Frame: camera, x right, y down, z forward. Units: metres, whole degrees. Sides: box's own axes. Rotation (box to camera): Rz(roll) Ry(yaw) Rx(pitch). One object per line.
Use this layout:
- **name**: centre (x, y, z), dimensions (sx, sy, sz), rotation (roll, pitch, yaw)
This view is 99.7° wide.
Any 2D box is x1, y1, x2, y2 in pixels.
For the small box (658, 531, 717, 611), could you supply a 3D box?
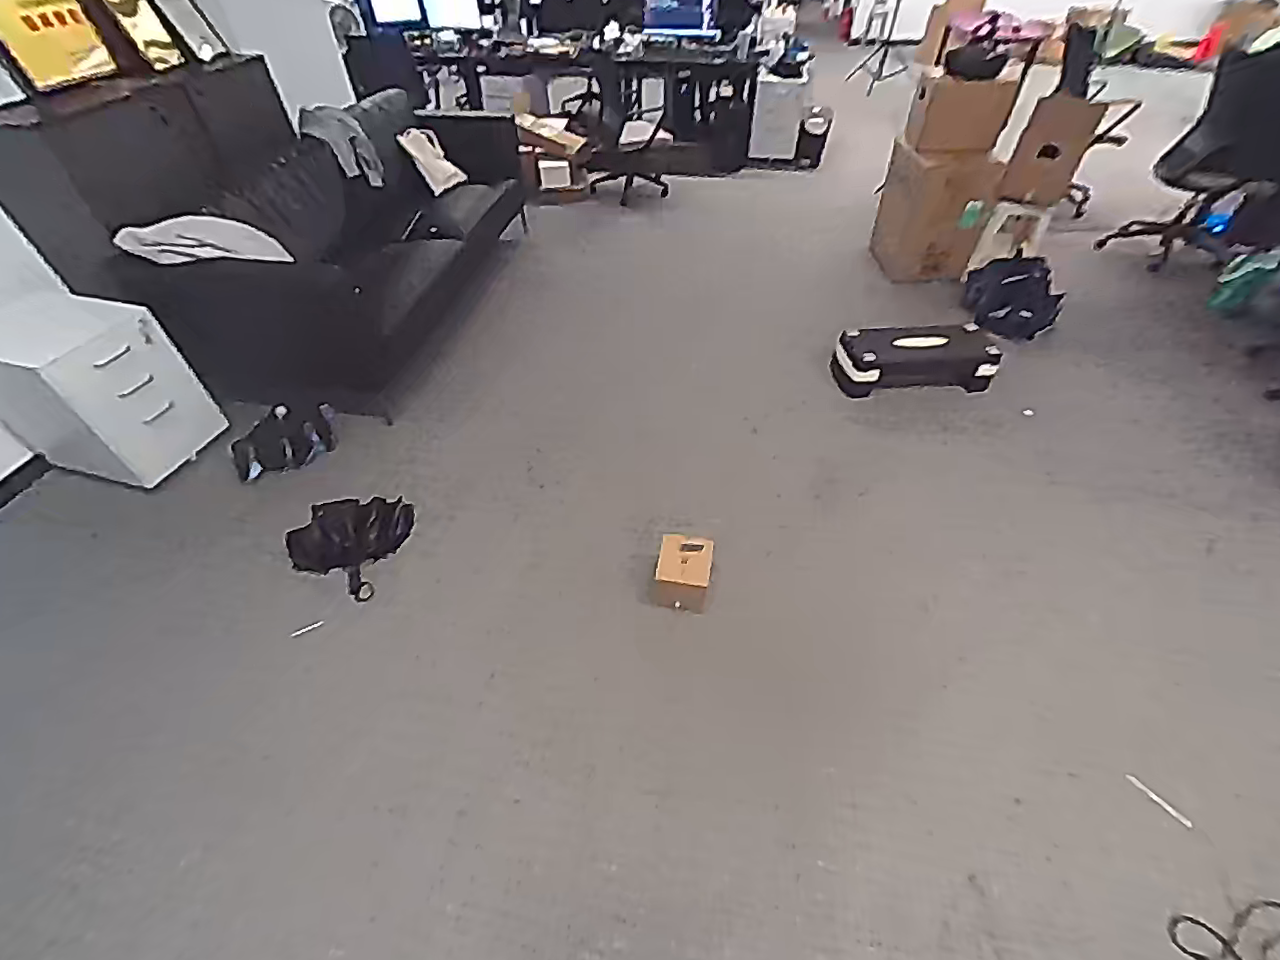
- **small box**: centre (0.151, 0.294, 1.745), dimensions (0.168, 0.176, 0.179), rotation (7, 48, 9)
